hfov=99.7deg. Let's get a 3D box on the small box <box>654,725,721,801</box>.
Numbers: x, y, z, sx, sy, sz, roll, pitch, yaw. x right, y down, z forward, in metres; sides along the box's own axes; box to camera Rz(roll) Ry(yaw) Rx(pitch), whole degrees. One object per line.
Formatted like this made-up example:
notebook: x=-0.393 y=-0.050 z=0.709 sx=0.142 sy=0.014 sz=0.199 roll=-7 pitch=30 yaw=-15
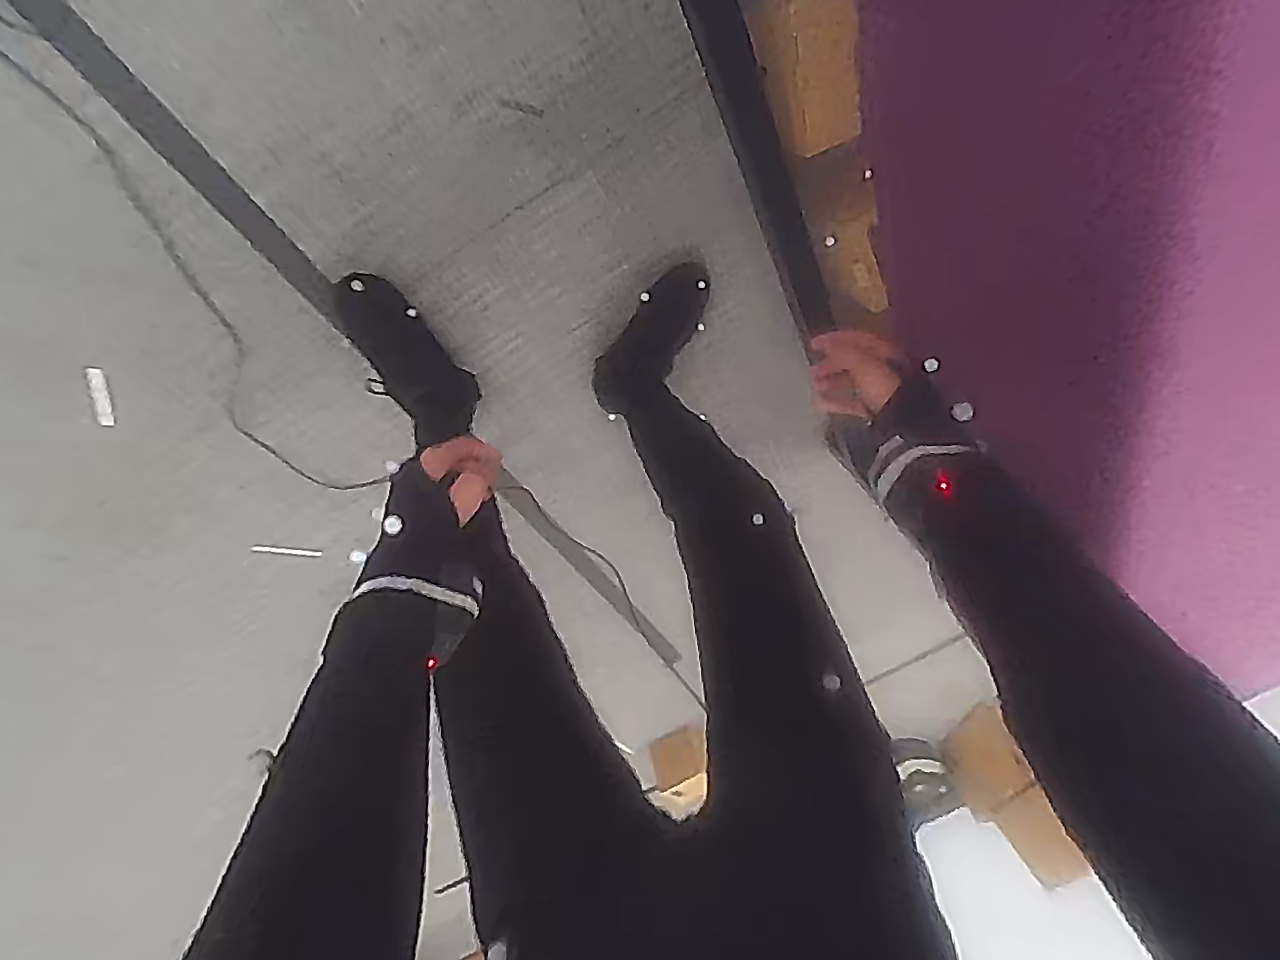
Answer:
small box: x=0.164 y=1.027 z=1.965 sx=0.179 sy=0.176 sz=0.168 roll=-32 pitch=129 yaw=10
